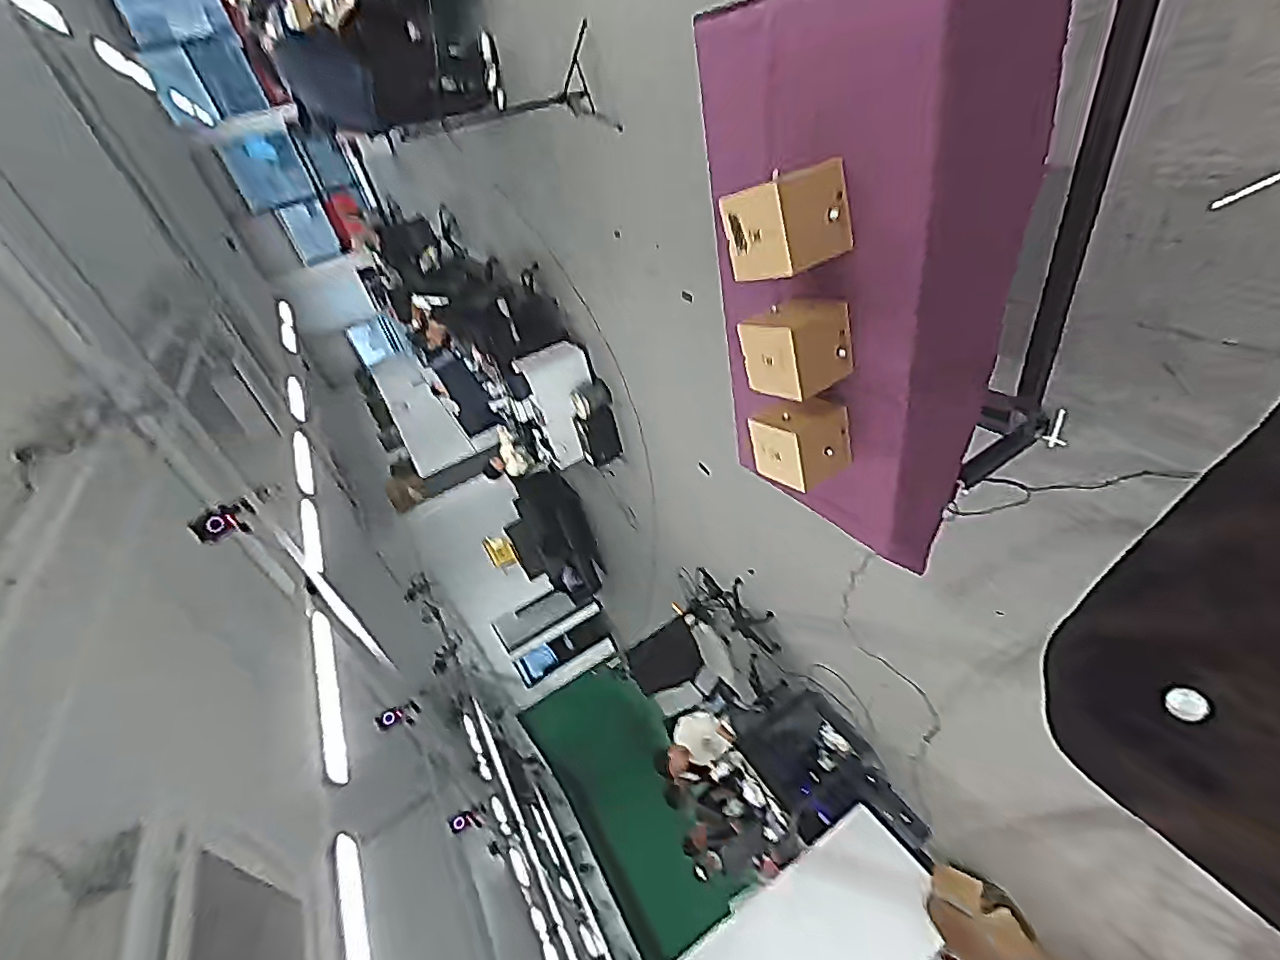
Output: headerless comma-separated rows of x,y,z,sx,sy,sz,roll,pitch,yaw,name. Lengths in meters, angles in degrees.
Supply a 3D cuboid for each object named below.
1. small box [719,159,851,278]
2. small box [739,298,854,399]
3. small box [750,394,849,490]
0.292,-0.519,1.088,0.179,0.176,0.168,28,143,58,small box
0.357,-0.306,1.234,0.179,0.176,0.168,33,148,56,small box
0.412,-0.105,1.379,0.179,0.176,0.168,34,147,55,small box
